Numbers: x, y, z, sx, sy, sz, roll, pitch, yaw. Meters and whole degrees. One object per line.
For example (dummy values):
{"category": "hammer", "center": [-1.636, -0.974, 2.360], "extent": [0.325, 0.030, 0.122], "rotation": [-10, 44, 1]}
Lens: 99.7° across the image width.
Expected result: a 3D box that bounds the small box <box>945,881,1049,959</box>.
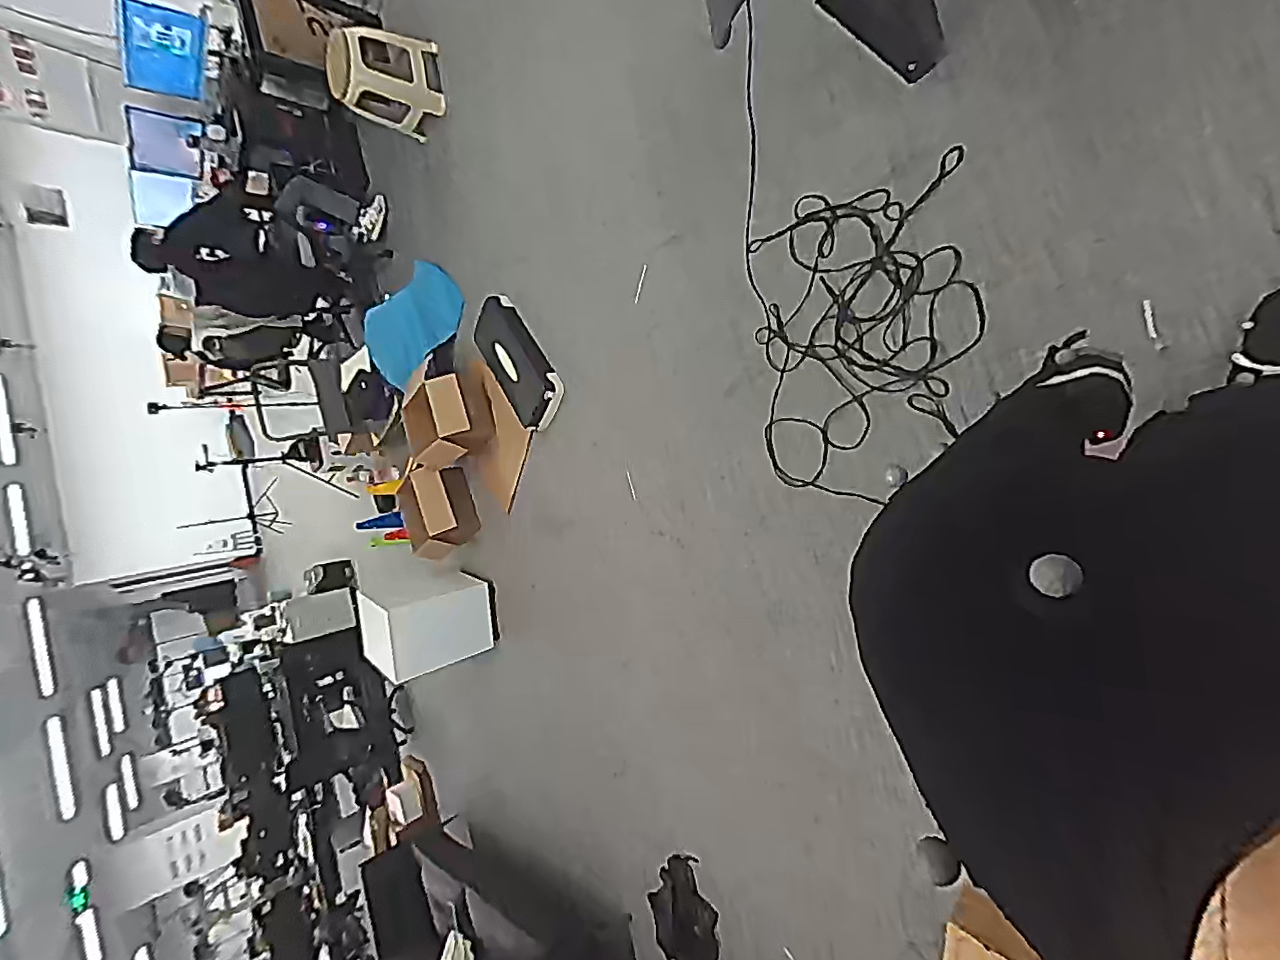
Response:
{"category": "small box", "center": [0.838, 1.112, 1.270], "extent": [0.168, 0.176, 0.179], "rotation": [10, 105, 47]}
